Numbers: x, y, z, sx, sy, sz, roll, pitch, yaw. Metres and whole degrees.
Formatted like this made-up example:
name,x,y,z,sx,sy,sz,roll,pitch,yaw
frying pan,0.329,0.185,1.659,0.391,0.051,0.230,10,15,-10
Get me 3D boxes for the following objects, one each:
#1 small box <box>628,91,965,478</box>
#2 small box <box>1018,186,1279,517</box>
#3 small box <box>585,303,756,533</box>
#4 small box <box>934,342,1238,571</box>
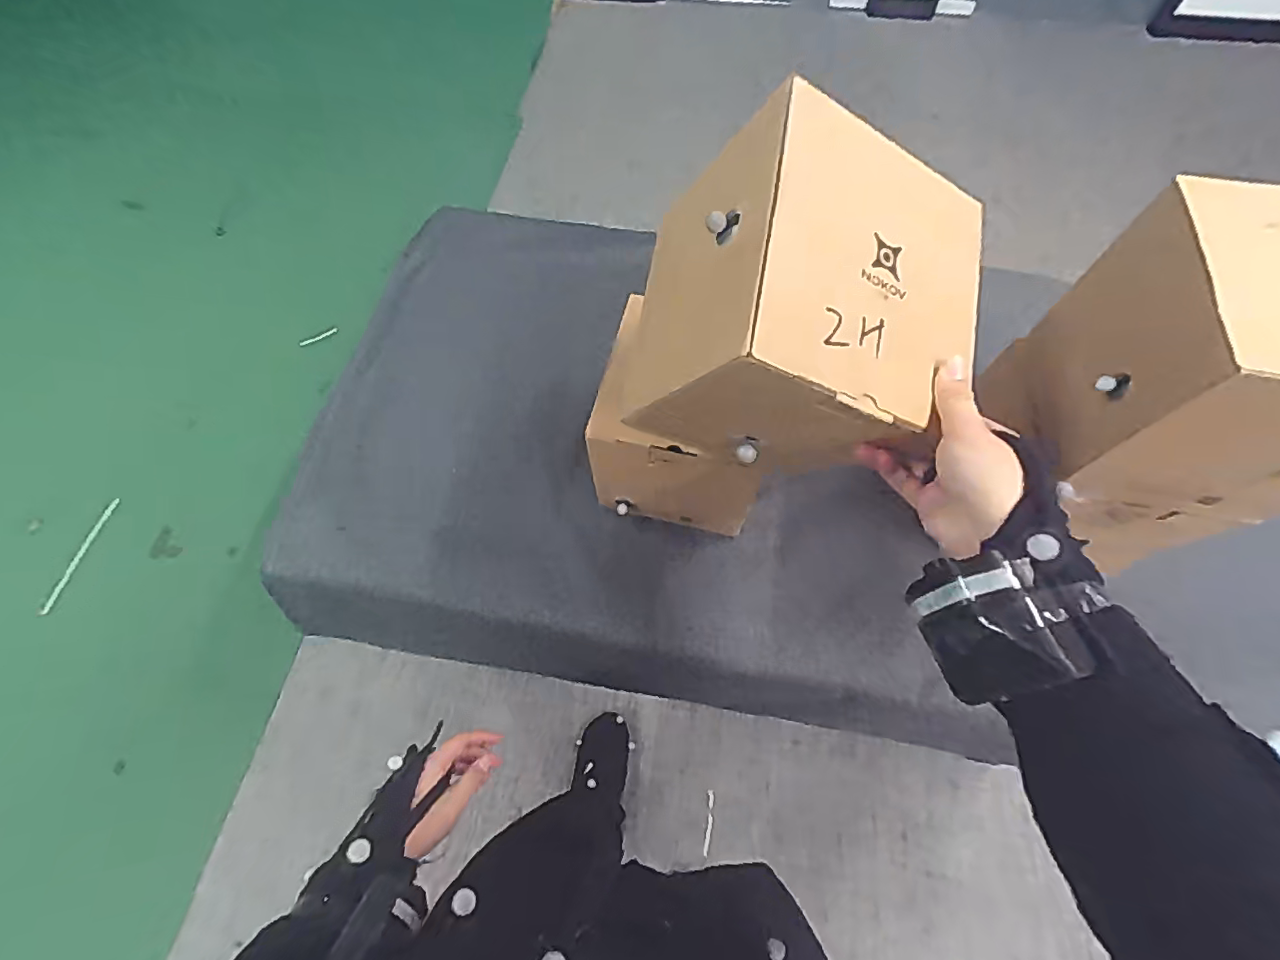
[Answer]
name,x,y,z,sx,sy,sz,roll,pitch,yaw
small box,0.104,-0.115,0.397,0.168,0.176,0.179,16,75,-21
small box,0.432,-0.087,0.417,0.168,0.176,0.179,10,64,5
small box,0.049,-0.059,0.591,0.168,0.176,0.179,12,63,6
small box,0.431,-0.015,0.563,0.168,0.176,0.179,7,64,4
